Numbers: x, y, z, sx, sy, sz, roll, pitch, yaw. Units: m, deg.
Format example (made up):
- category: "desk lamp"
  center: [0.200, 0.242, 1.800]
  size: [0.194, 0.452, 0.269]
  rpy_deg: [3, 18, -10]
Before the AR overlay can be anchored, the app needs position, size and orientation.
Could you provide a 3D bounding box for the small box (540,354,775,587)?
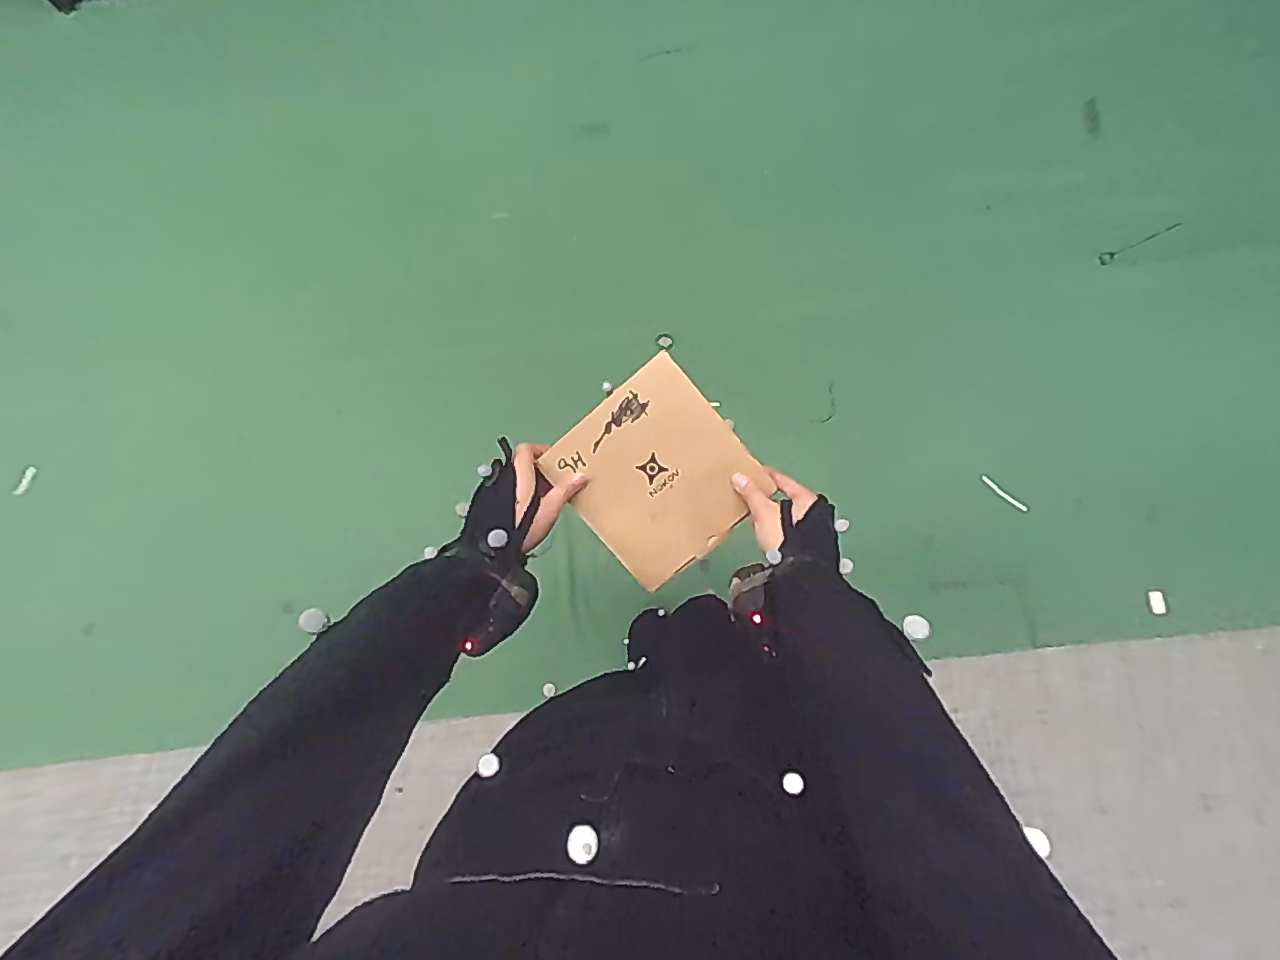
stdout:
- category: "small box"
  center: [0.019, -0.018, 0.605]
  size: [0.168, 0.176, 0.179]
  rpy_deg: [-40, 95, 5]
